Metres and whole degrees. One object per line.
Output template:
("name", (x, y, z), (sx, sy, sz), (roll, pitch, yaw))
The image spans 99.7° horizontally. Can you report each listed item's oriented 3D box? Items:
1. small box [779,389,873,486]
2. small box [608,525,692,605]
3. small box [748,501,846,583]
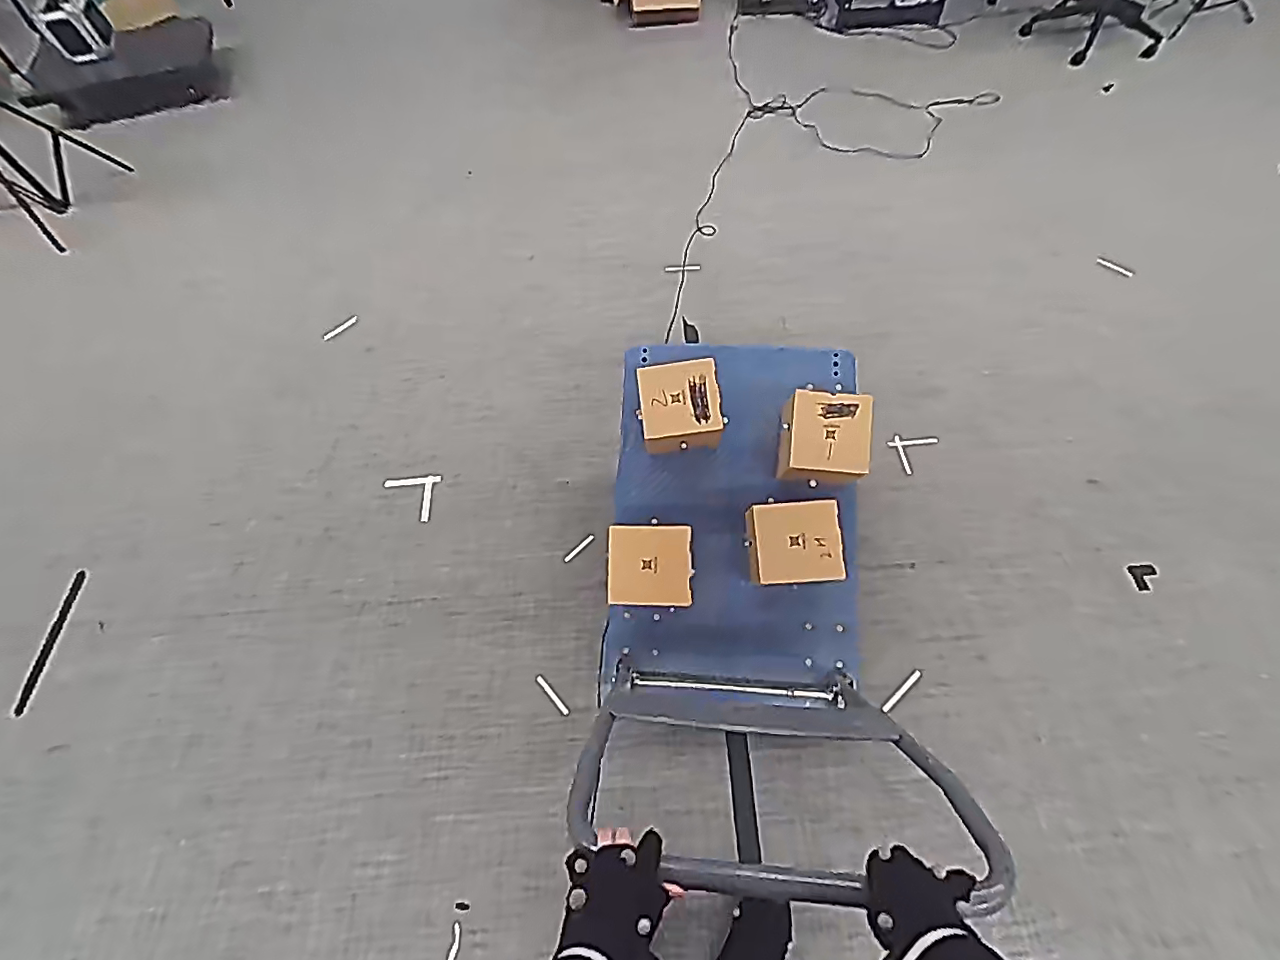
("small box", (0.414, -0.091, 1.224), (0.168, 0.176, 0.179), (5, 82, 6))
("small box", (0.027, 0.192, 1.211), (0.179, 0.176, 0.168), (0, 80, 3))
("small box", (0.335, 0.141, 1.192), (0.179, 0.176, 0.168), (-4, 81, 4))
